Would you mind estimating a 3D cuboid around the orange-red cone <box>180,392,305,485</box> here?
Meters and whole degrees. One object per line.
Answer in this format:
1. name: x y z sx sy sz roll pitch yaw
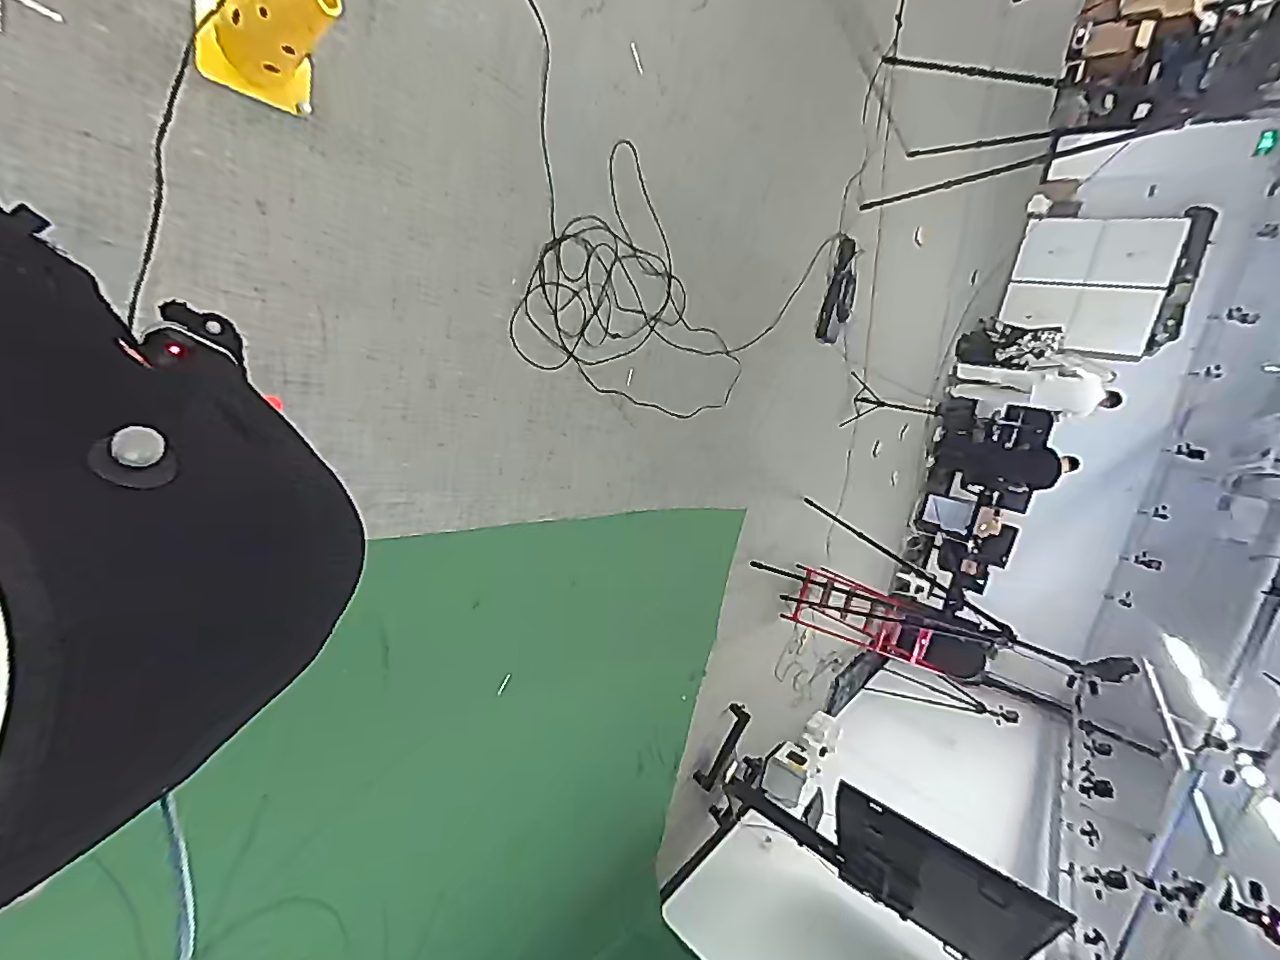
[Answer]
1. orange-red cone: -0.809 -0.055 1.155 0.198 0.360 0.199 -1 106 -52
